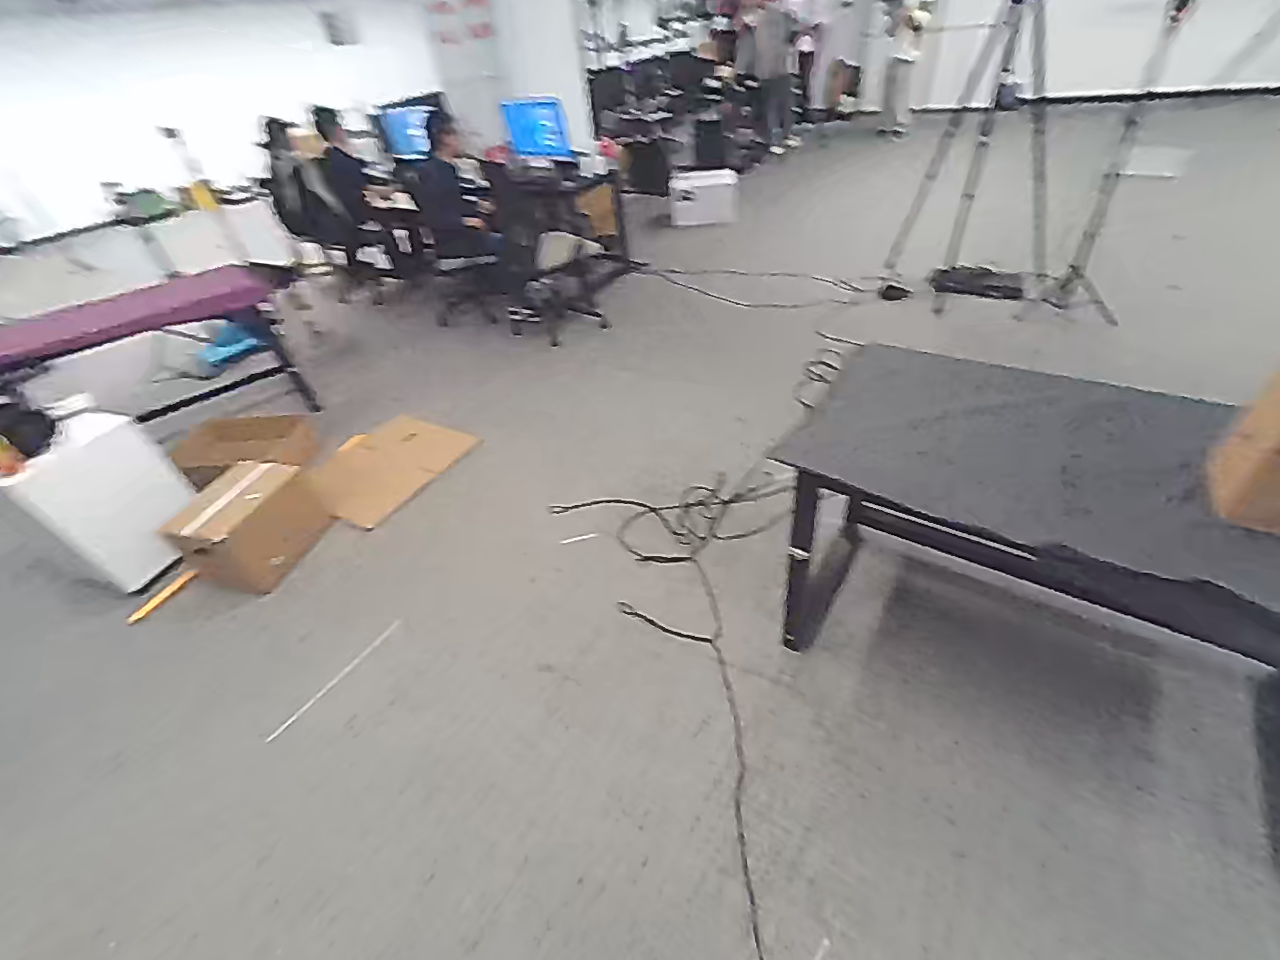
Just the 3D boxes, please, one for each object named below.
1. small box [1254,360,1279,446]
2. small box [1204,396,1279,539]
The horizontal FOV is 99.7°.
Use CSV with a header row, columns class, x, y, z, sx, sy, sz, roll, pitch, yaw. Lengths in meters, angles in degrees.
class,x,y,z,sx,sy,sz,roll,pitch,yaw
small box,1.070,-0.131,0.791,0.168,0.176,0.179,17,45,28
small box,1.098,-0.013,0.904,0.168,0.176,0.179,18,46,29
